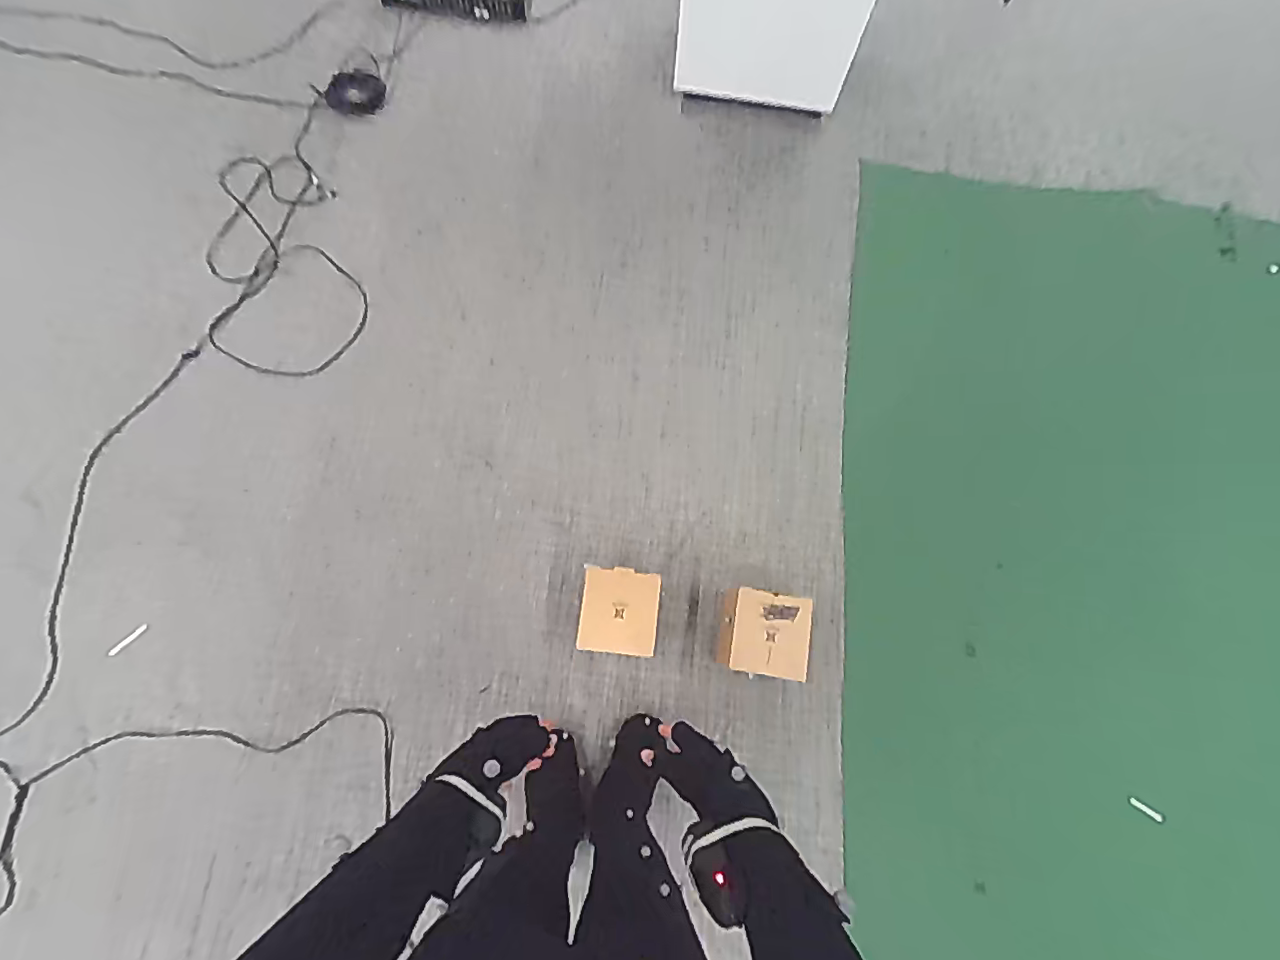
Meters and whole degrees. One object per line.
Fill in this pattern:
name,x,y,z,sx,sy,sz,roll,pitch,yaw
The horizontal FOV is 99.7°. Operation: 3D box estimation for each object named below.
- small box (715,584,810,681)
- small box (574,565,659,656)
small box,0.272,0.345,1.230,0.168,0.176,0.179,10,75,1
small box,-0.052,0.298,1.231,0.168,0.176,0.179,7,73,-1
